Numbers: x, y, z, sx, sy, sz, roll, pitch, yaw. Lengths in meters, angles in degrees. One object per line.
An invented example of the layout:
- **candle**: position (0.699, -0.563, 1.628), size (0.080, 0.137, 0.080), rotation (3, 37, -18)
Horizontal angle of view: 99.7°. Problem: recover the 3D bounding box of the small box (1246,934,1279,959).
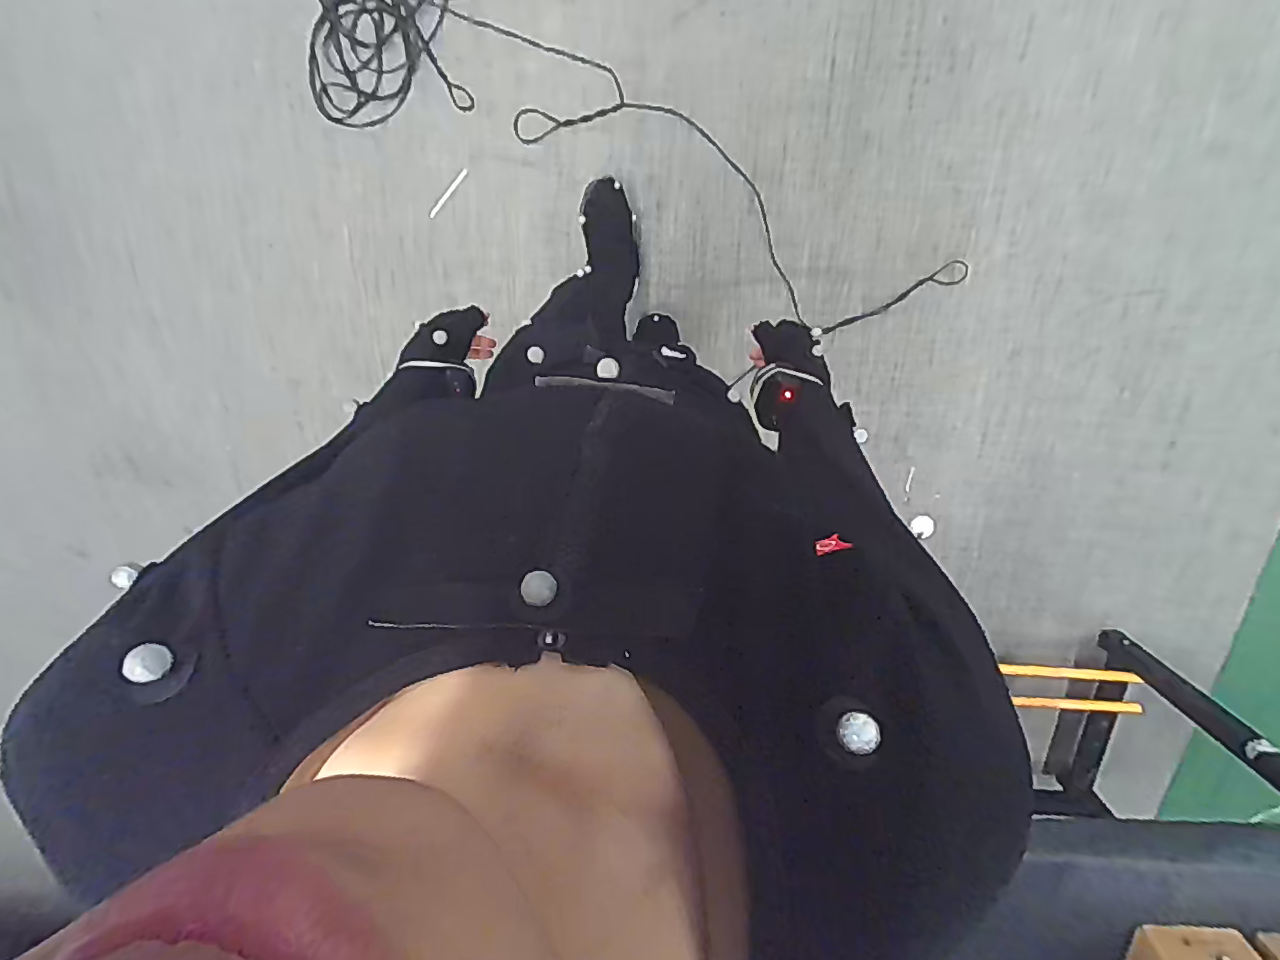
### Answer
- **small box**: position (1.144, 0.895, 0.882), size (0.168, 0.176, 0.179), rotation (0, 109, 3)
